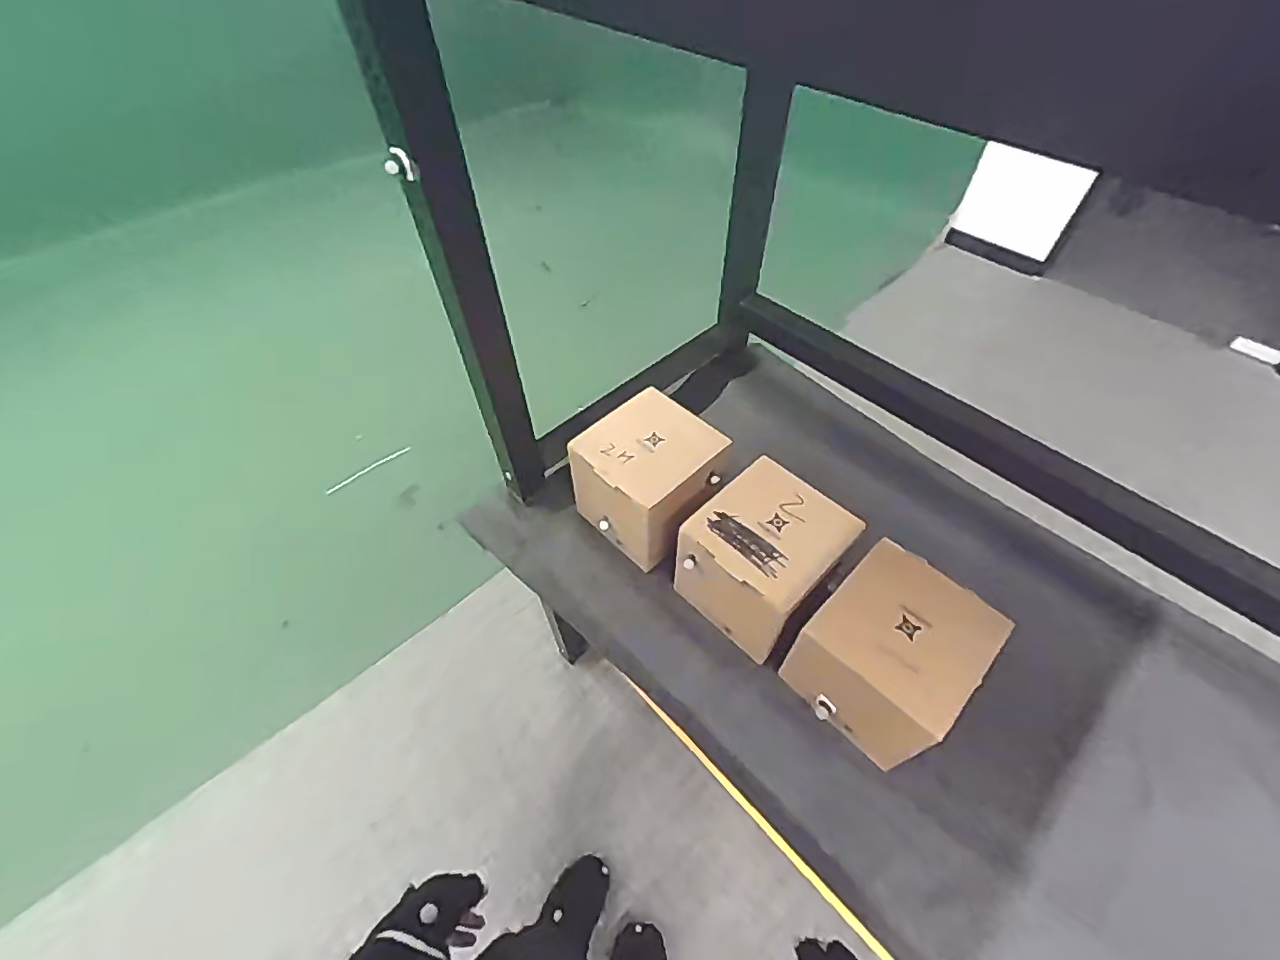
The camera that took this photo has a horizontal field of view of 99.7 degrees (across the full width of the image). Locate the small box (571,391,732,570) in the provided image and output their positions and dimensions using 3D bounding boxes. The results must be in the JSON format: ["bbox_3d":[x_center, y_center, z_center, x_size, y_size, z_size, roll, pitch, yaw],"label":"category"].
[{"bbox_3d":[0.015,0.002,0.831,0.179,0.176,0.168,-38,61,-26],"label":"small box"}]
